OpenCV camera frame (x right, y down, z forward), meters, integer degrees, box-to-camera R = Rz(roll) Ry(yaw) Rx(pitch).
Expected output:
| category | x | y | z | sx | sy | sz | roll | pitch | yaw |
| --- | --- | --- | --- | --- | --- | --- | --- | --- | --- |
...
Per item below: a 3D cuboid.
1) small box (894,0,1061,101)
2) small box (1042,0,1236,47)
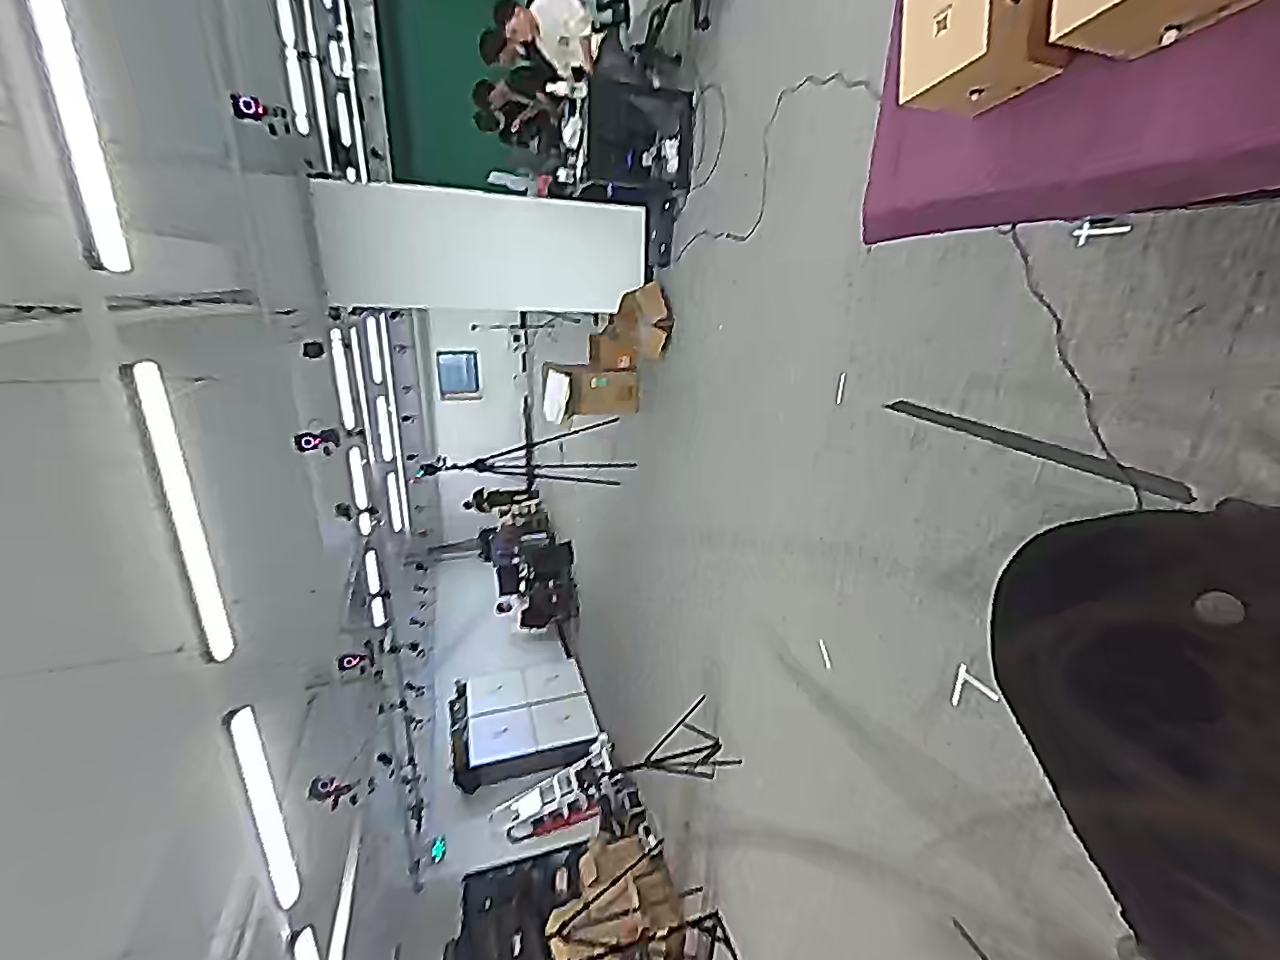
| category | x | y | z | sx | sy | sz | roll | pitch | yaw |
| --- | --- | --- | --- | --- | --- | --- | --- | --- | --- |
| small box | 0.534 | -0.729 | 0.854 | 0.168 | 0.176 | 0.179 | -151 | 57 | -67 |
| small box | 0.619 | -0.653 | 0.628 | 0.168 | 0.176 | 0.179 | -151 | 58 | -69 |
